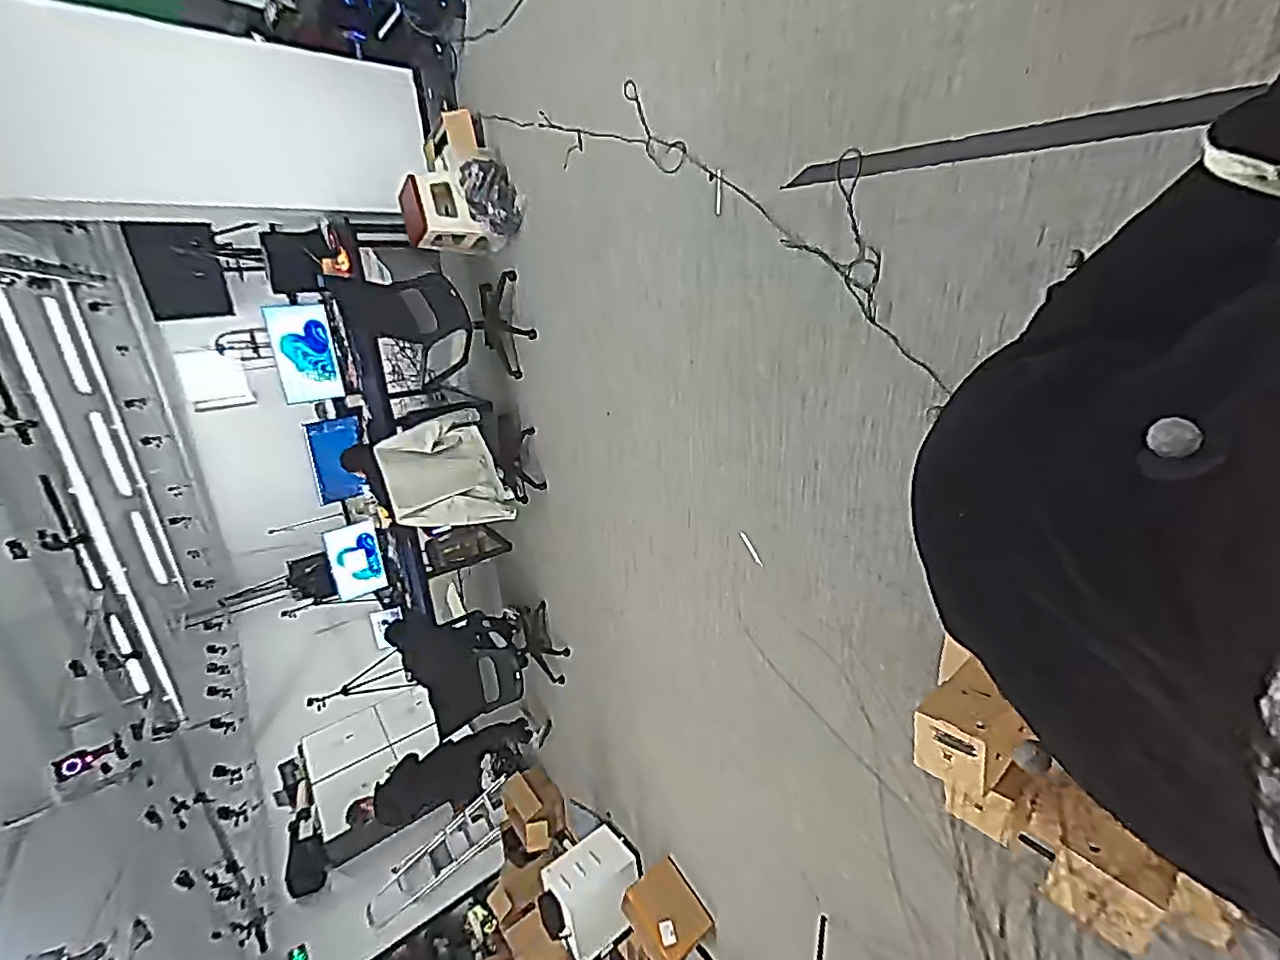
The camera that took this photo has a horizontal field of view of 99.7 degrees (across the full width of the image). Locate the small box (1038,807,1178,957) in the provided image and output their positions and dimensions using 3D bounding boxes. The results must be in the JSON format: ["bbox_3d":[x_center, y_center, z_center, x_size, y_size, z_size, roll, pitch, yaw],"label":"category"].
[{"bbox_3d":[1.022,0.861,1.183,0.179,0.176,0.168,25,124,45],"label":"small box"}]

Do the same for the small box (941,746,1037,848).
[{"bbox_3d":[0.985,0.874,1.531,0.179,0.176,0.168,15,117,50],"label":"small box"}]

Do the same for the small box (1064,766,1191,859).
[{"bbox_3d":[1.149,0.818,1.279,0.179,0.176,0.168,24,123,46],"label":"small box"}]

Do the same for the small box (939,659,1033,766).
[{"bbox_3d":[0.944,0.622,1.474,0.168,0.176,0.179,15,117,50],"label":"small box"}]
